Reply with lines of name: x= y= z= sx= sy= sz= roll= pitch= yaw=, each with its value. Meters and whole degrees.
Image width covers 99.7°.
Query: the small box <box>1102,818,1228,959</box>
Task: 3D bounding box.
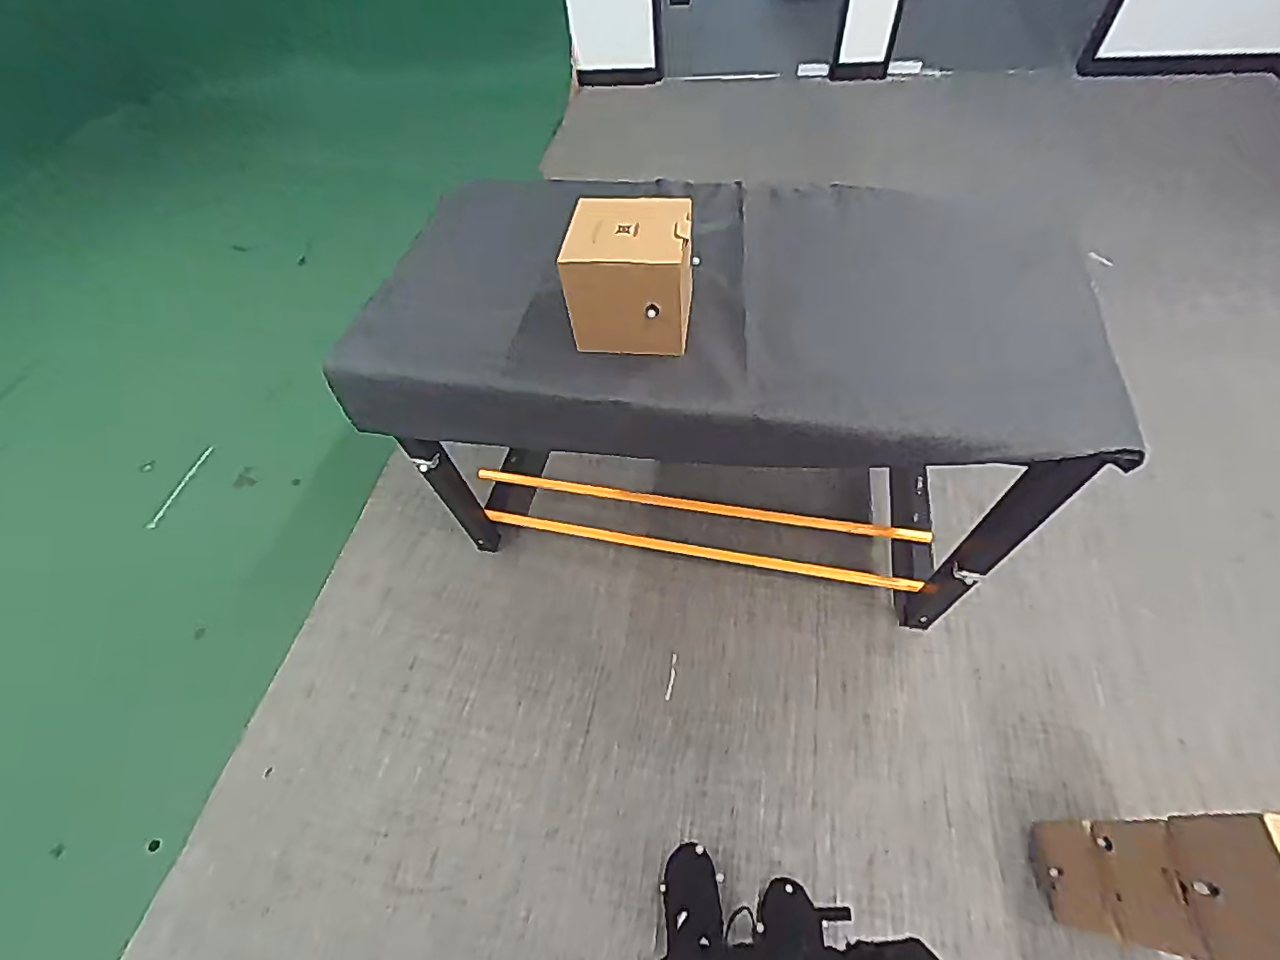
small box: x=0.848 y=0.620 z=0.812 sx=0.179 sy=0.176 sz=0.168 roll=4 pitch=58 yaw=7

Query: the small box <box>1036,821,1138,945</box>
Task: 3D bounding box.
small box: x=0.851 y=0.708 z=0.951 sx=0.179 sy=0.176 sz=0.168 roll=2 pitch=56 yaw=8

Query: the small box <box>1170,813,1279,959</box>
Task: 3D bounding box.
small box: x=0.838 y=0.530 z=0.675 sx=0.168 sy=0.176 sz=0.179 roll=4 pitch=58 yaw=8

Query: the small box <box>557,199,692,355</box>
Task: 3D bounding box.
small box: x=-0.012 y=-0.312 z=0.846 sx=0.179 sy=0.176 sz=0.168 roll=3 pitch=56 yaw=9
